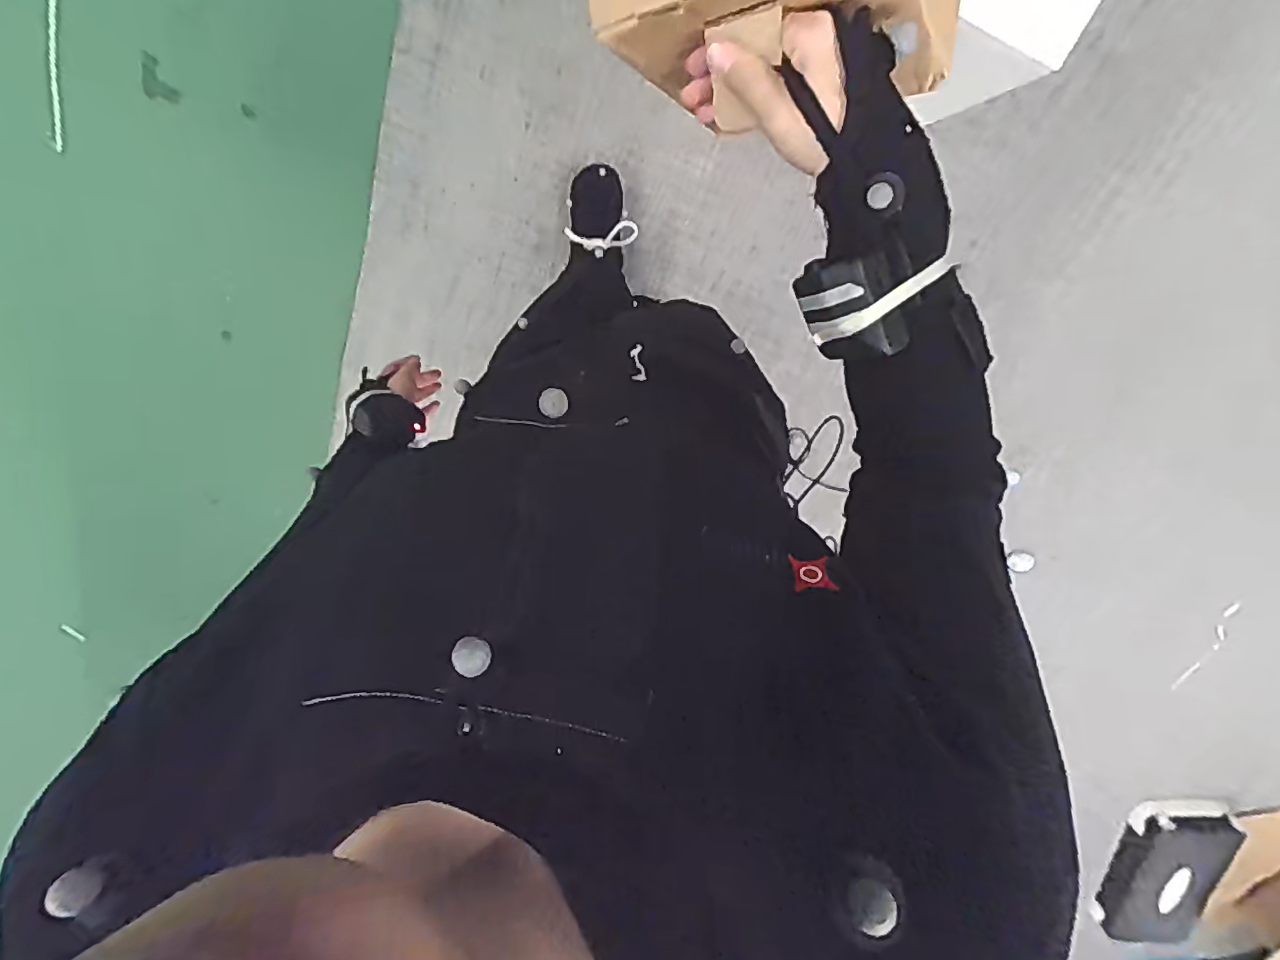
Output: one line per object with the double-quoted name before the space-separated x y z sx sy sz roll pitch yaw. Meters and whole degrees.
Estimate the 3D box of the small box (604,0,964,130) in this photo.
"small box" 0.096 -0.341 0.312 0.168 0.176 0.179 10 105 33
